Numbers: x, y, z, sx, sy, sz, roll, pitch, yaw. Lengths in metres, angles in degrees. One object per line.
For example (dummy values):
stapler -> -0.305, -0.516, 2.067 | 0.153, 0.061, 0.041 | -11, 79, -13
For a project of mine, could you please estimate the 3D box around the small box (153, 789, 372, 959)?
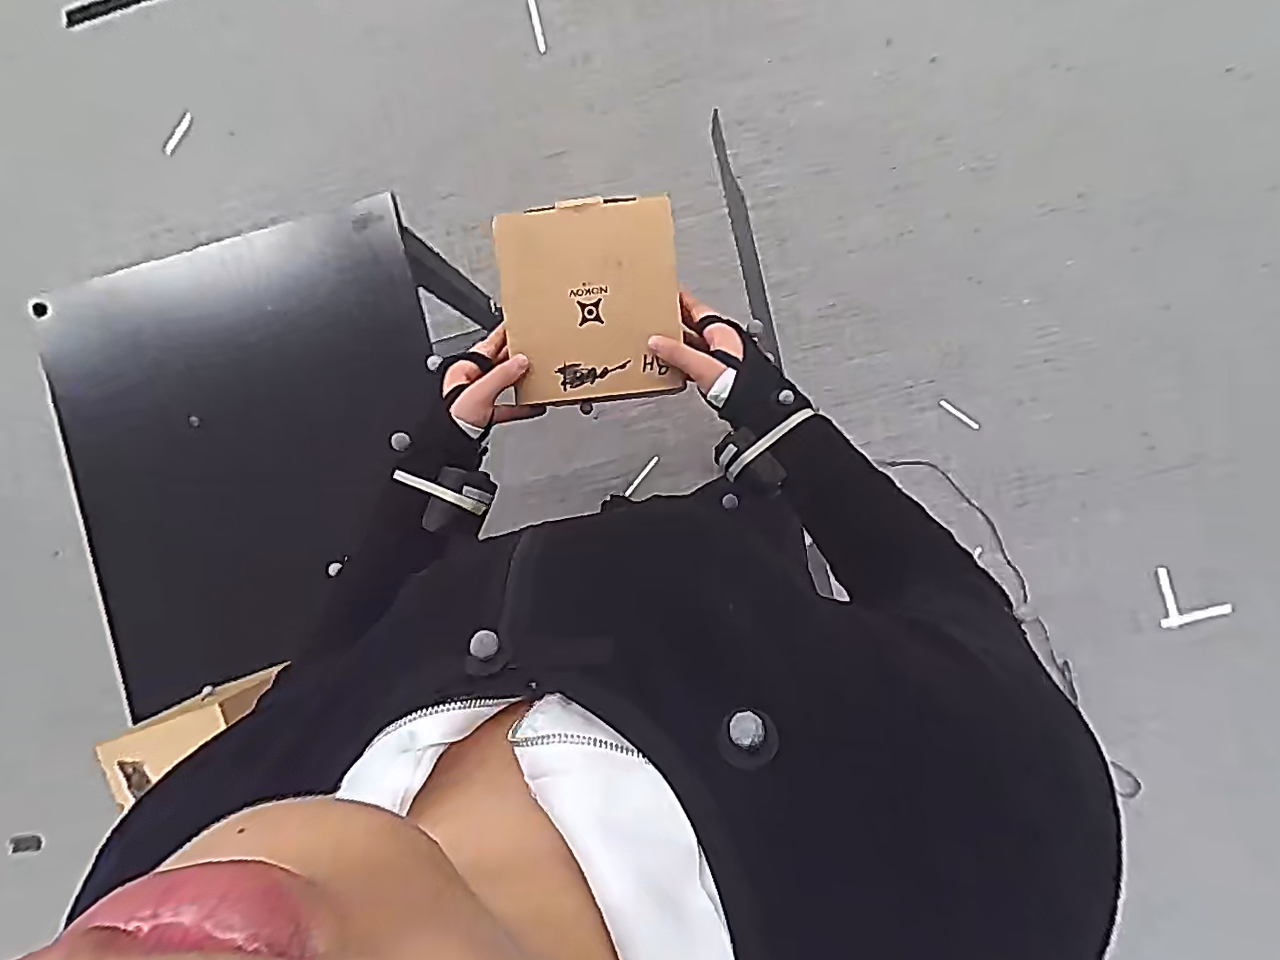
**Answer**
small box -> -0.493, 0.551, 0.737 | 0.179, 0.176, 0.168 | -11, 89, 5

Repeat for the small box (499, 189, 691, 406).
small box -> -0.038, -0.177, 0.576 | 0.168, 0.176, 0.179 | -6, 96, 4
